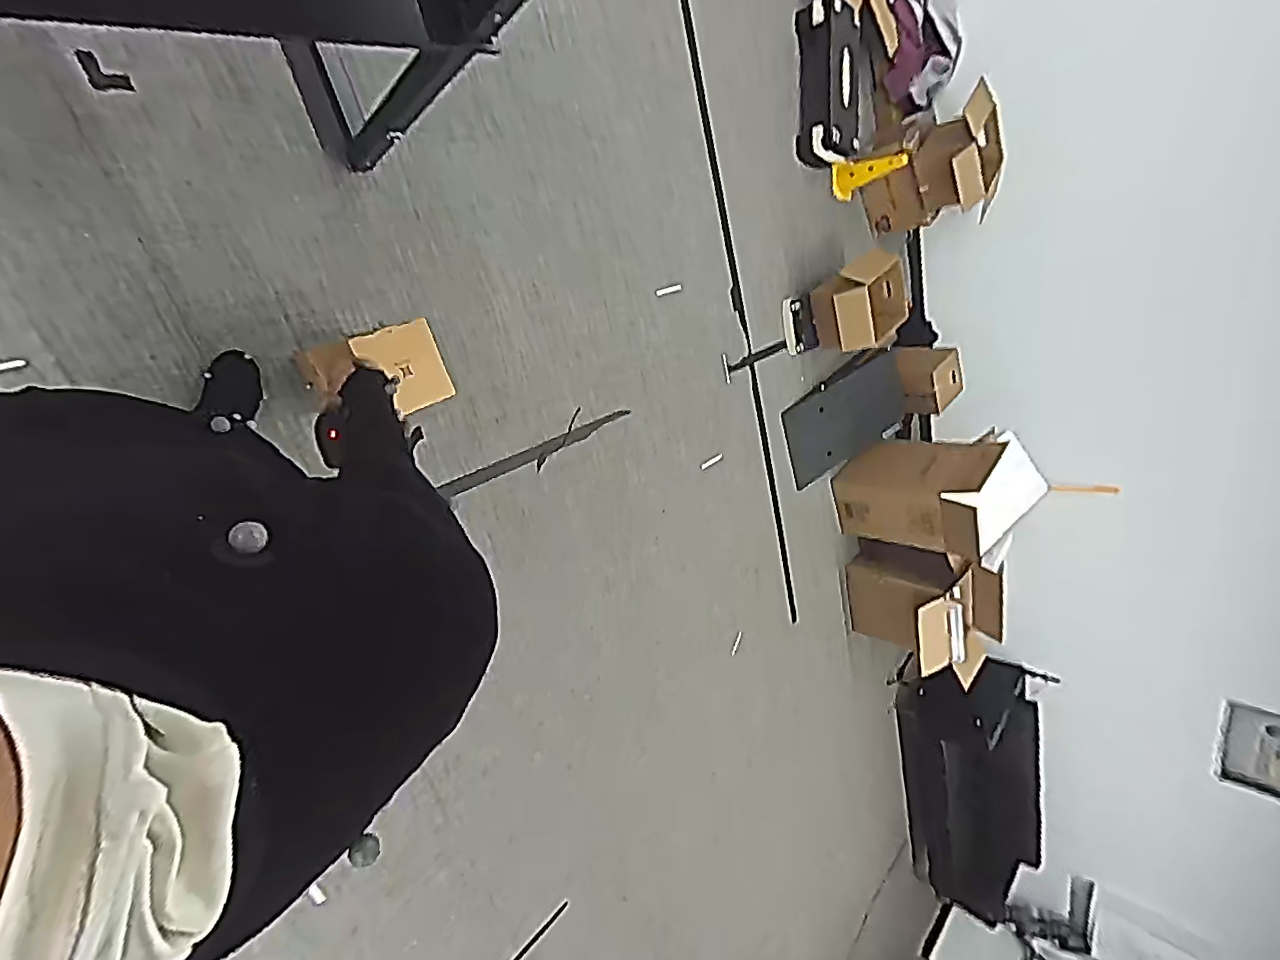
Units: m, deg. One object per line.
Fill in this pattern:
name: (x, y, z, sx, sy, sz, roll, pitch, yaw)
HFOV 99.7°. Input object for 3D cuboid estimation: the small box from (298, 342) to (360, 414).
small box: (-0.760, -0.282, 1.420, 0.179, 0.176, 0.168, -32, 116, -34)

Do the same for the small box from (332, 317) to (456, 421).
small box: (-0.538, -0.242, 1.183, 0.168, 0.176, 0.179, -33, 117, -34)
